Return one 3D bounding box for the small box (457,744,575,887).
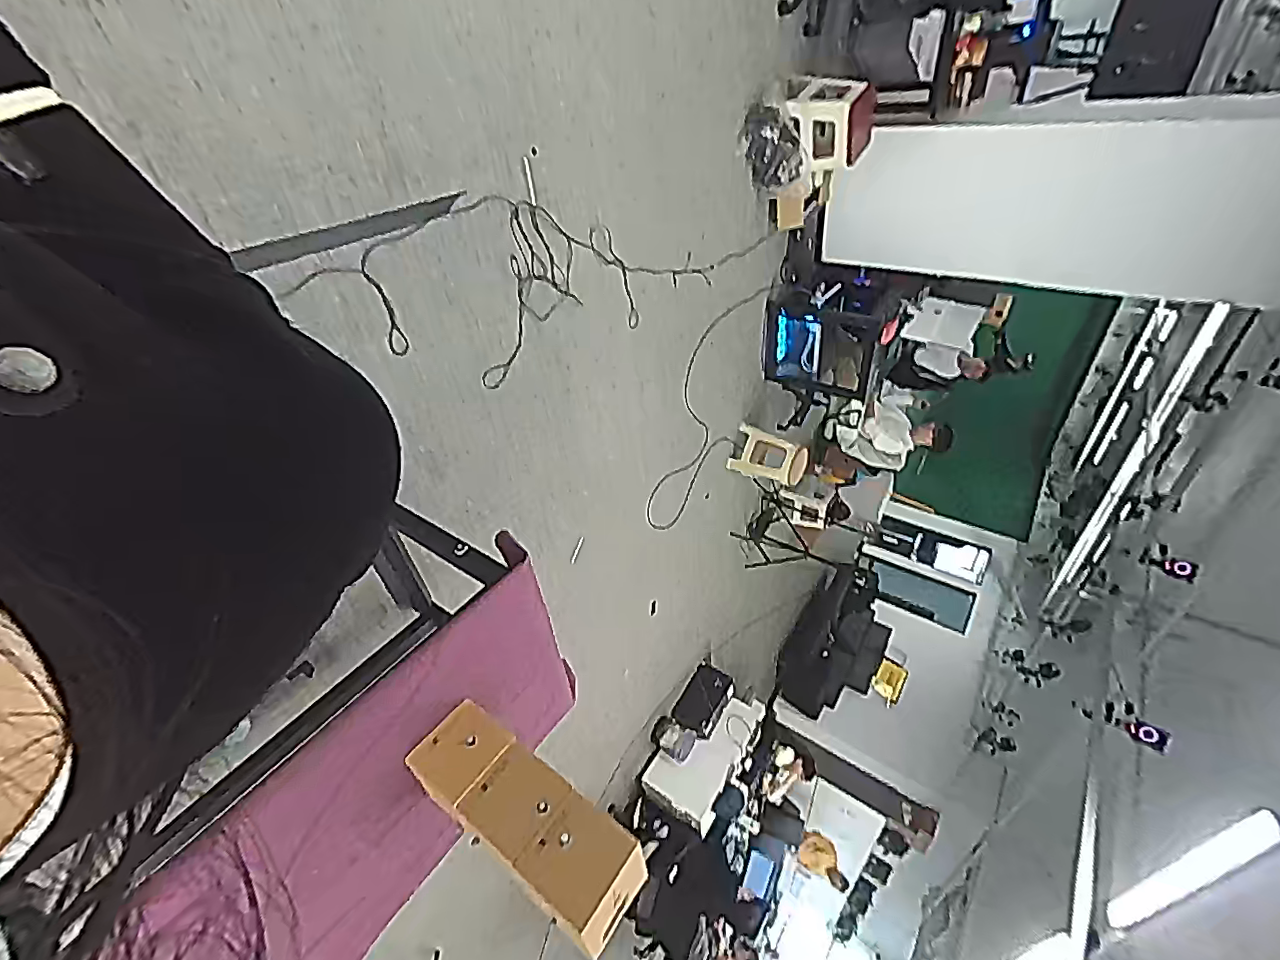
[{"bbox_3d":[-0.240,0.679,1.099,0.168,0.176,0.179,-43,142,-38],"label":"small box"}]

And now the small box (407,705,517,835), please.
[{"bbox_3d":[-0.373,0.624,1.178,0.168,0.176,0.179,-42,141,-38],"label":"small box"}]

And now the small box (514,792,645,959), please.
[{"bbox_3d":[-0.109,0.730,1.012,0.168,0.176,0.179,-42,140,-38],"label":"small box"}]
